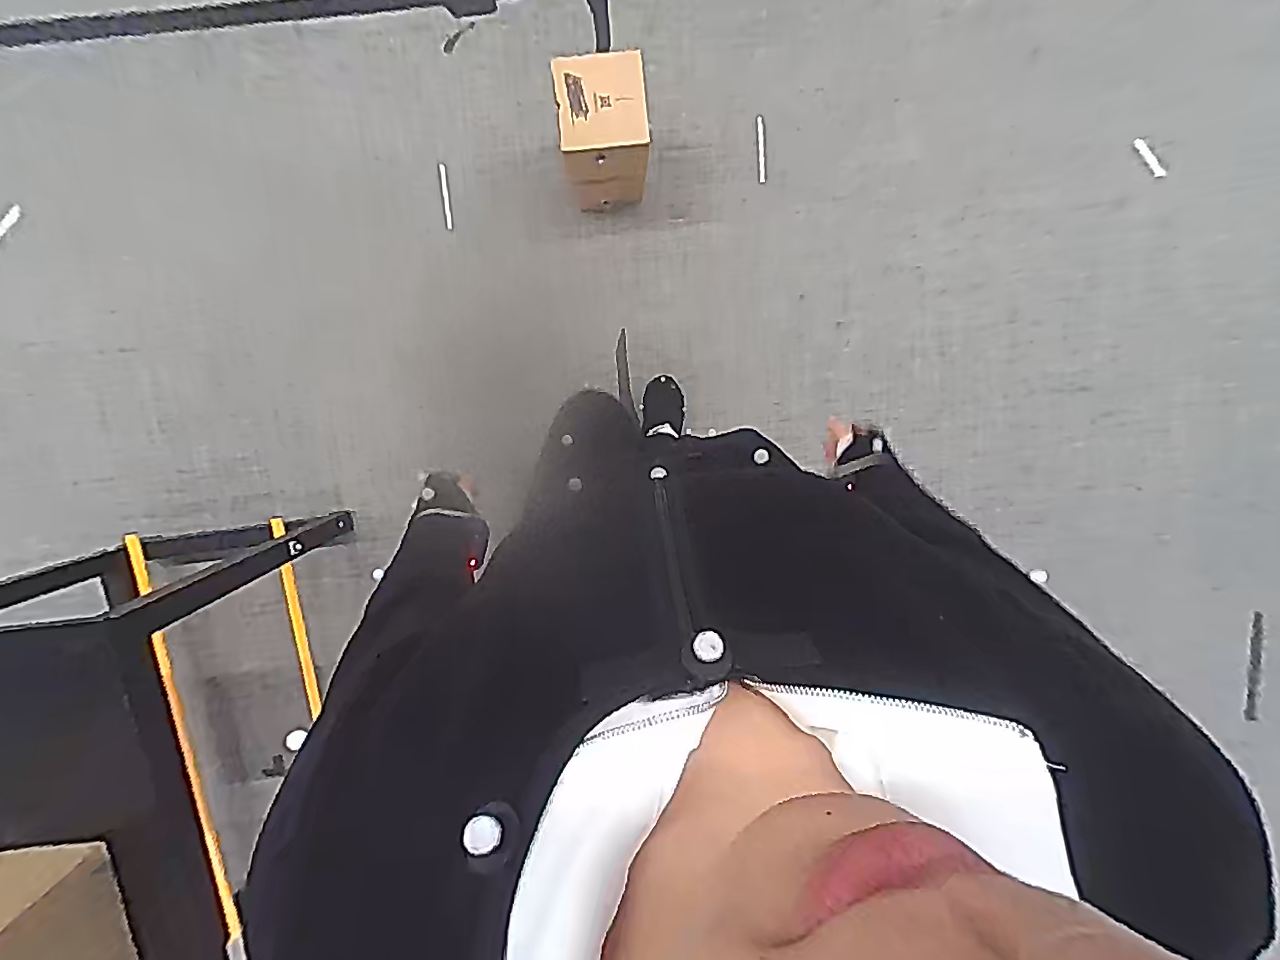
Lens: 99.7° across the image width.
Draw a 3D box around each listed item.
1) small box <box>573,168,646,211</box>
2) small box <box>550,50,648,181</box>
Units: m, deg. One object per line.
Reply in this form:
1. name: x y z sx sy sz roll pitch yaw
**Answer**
1. small box: -0.084 -0.763 1.273 0.168 0.176 0.179 -11 101 1
2. small box: -0.078 -0.736 1.110 0.179 0.176 0.168 -6 100 -1
